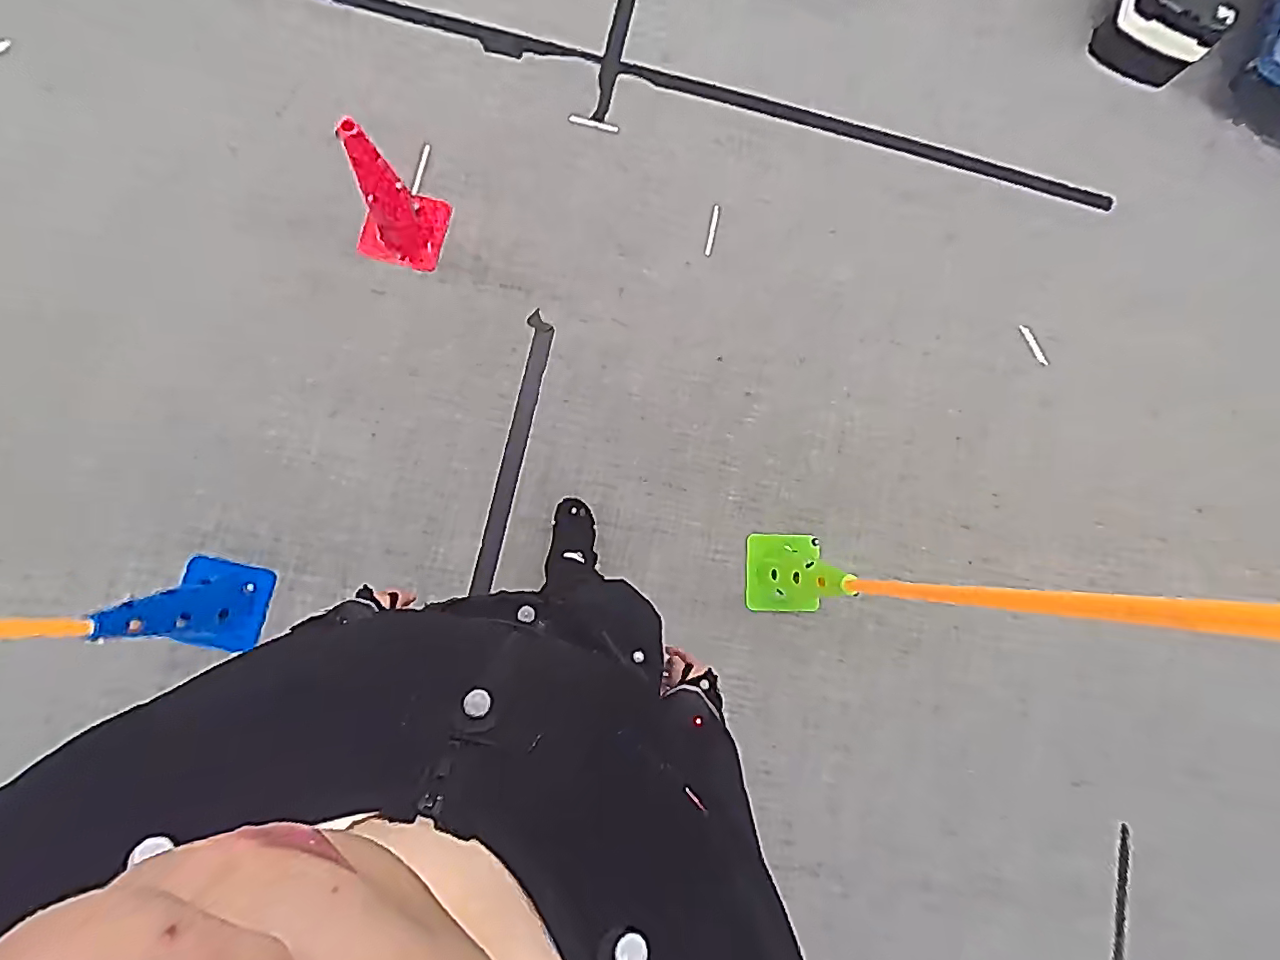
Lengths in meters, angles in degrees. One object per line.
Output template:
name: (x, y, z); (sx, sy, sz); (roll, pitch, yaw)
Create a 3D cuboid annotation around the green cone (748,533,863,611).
green cone: (0.400, 0.228, 1.246); (0.200, 0.368, 0.202); (2, 85, -6)

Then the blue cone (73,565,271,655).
blue cone: (-0.956, 0.284, 1.097); (0.193, 0.380, 0.192); (15, 83, -4)
